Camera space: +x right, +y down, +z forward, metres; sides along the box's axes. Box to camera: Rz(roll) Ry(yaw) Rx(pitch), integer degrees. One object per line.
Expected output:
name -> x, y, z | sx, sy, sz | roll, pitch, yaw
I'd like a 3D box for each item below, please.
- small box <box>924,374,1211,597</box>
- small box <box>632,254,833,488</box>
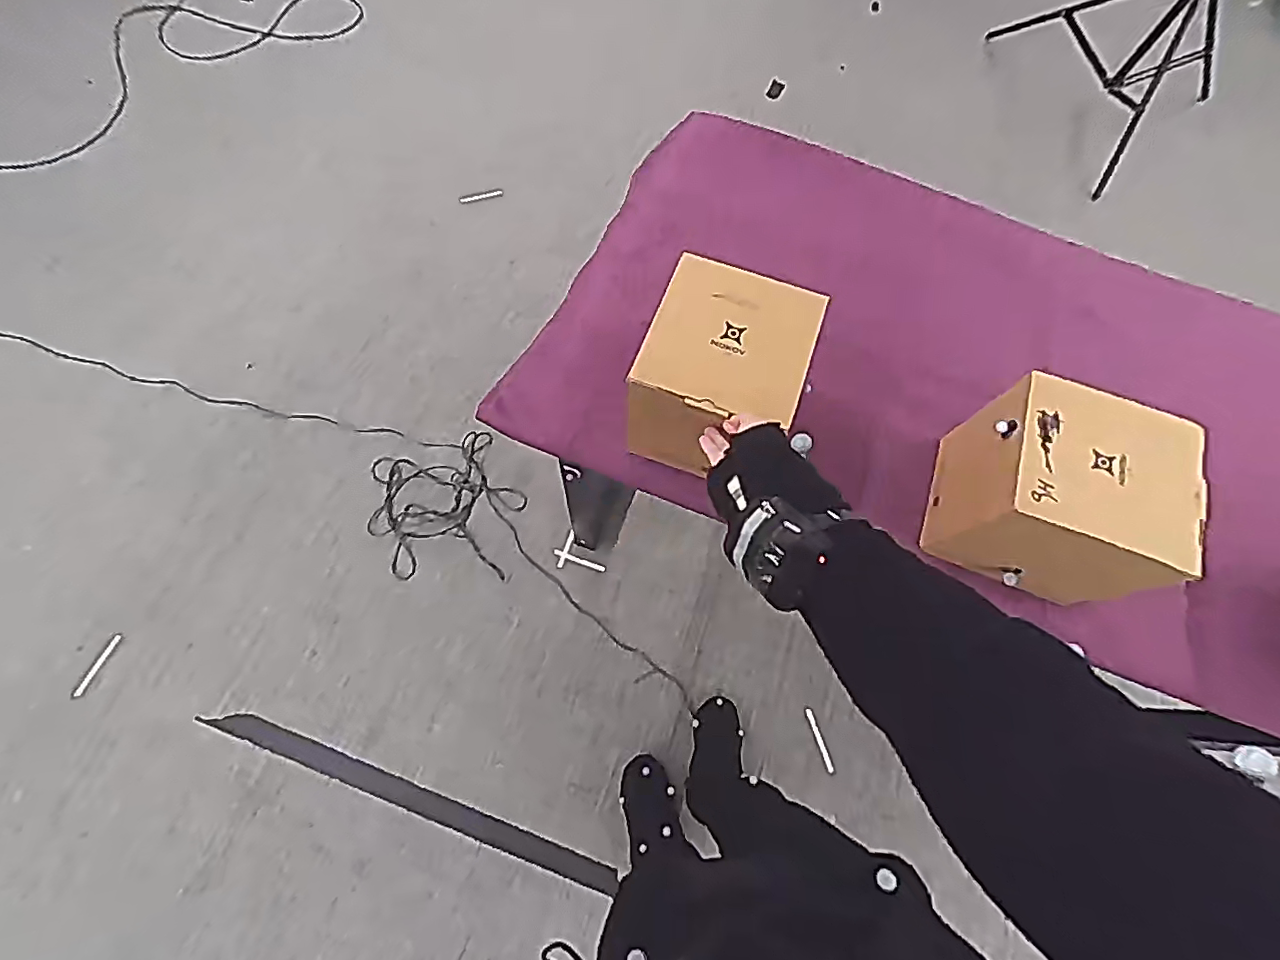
small box -> 0.453, 0.019, 0.592 | 0.179, 0.176, 0.168 | 22, 70, 4
small box -> 0.095, -0.113, 0.619 | 0.168, 0.176, 0.179 | 20, 68, 4
